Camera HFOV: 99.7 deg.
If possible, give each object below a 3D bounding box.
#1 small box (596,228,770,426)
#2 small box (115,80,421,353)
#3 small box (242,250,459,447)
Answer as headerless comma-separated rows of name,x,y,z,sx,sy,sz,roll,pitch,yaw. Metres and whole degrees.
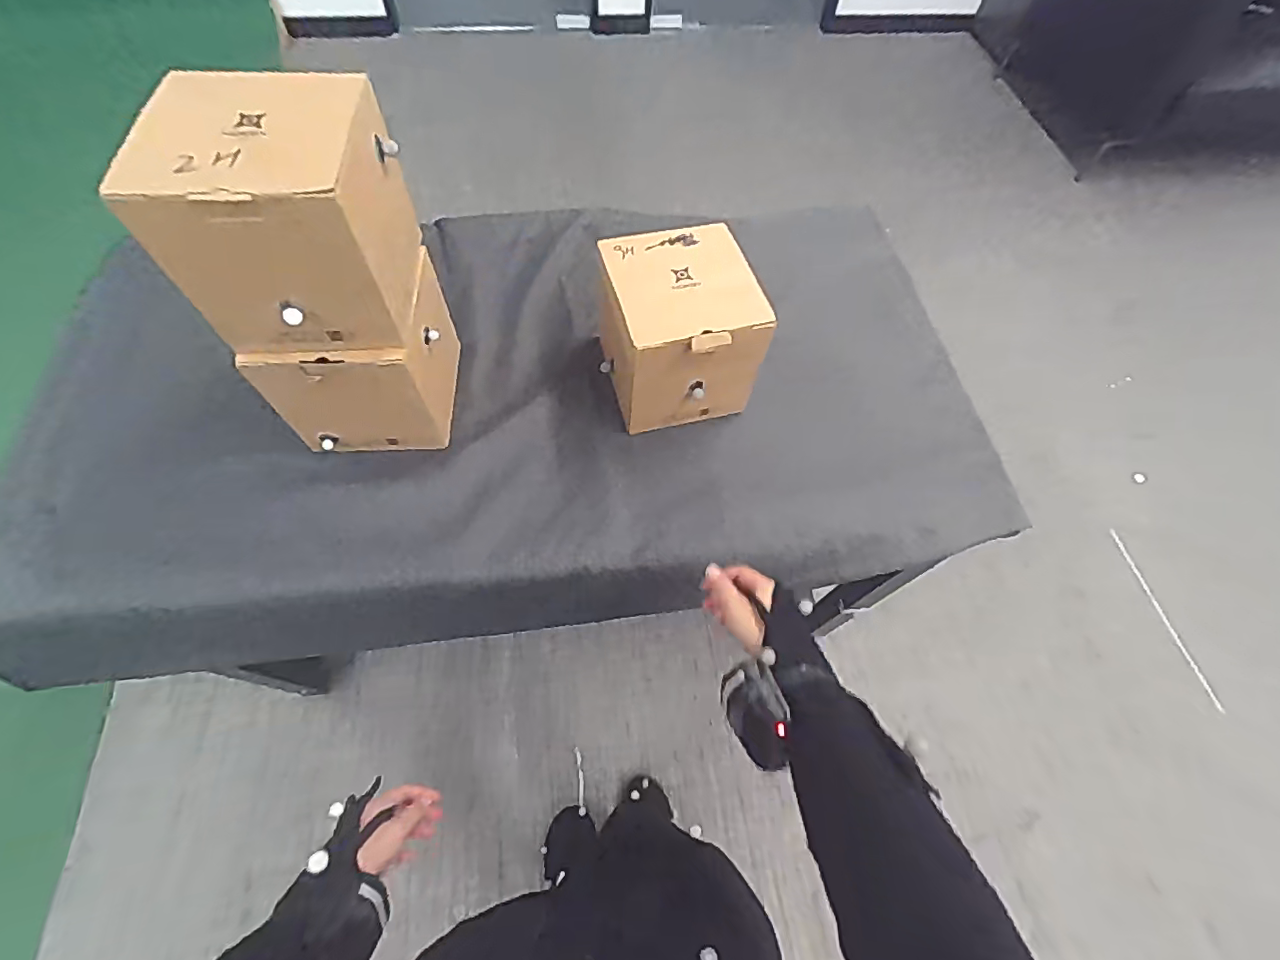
small box,0.044,-0.186,0.696,0.168,0.176,0.179,-12,63,-10
small box,-0.320,-0.244,0.516,0.168,0.176,0.179,-4,61,-5
small box,-0.325,-0.150,0.653,0.168,0.176,0.179,-1,60,-5
